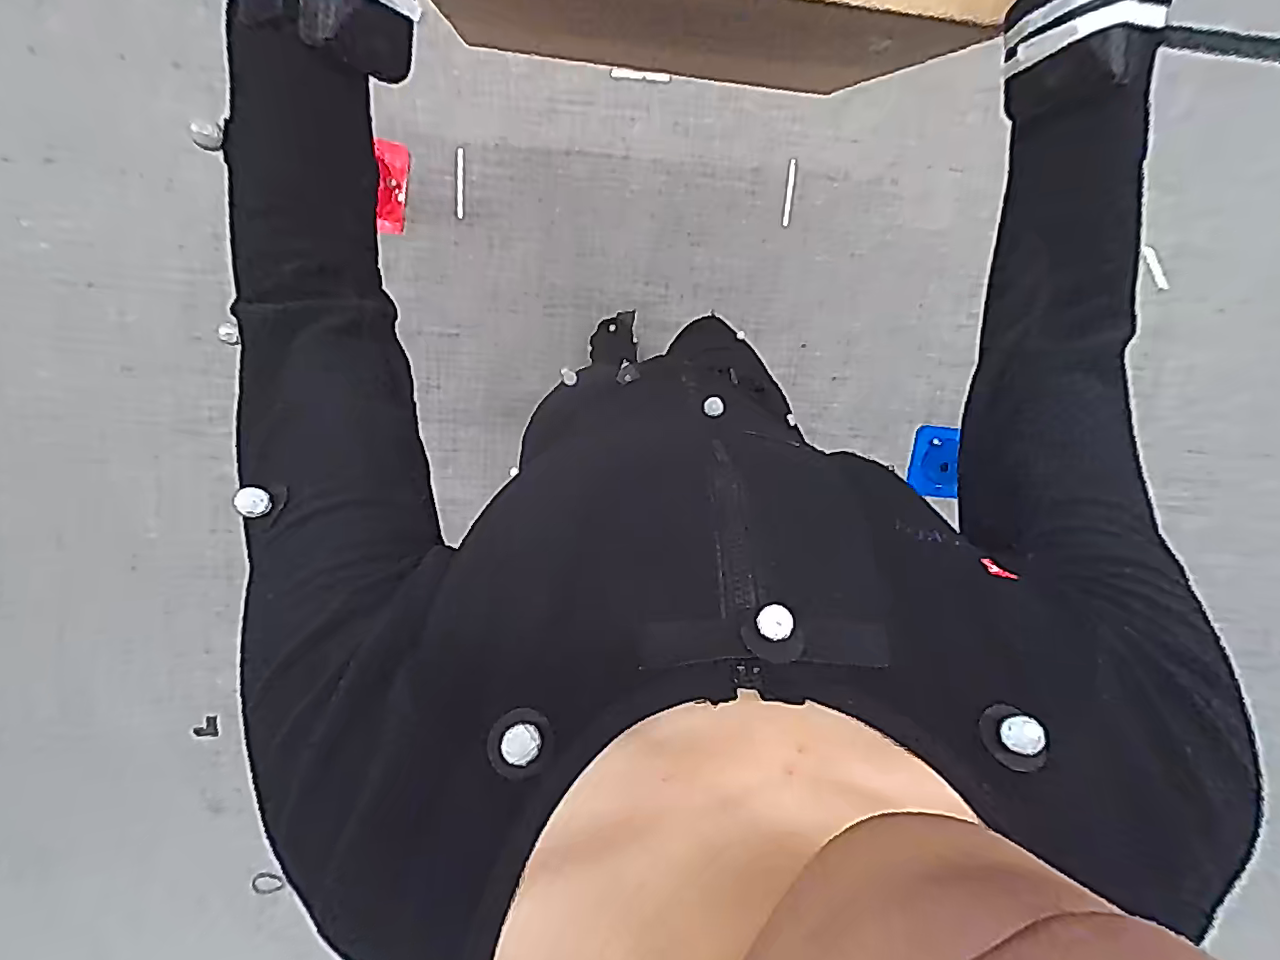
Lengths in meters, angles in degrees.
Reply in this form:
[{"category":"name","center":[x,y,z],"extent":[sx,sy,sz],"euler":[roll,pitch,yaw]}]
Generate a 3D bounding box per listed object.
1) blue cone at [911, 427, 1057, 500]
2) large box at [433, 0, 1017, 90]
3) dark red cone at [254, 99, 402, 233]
[{"category":"blue cone","center":[0.878,-0.016,1.367],"extent":[0.192,0.380,0.193],"euler":[6,103,-6]},{"category":"large box","center":[0.041,-0.508,0.387],"extent":[0.408,0.320,0.320],"euler":[1,119,-9]},{"category":"dark red cone","center":[-0.641,-0.652,1.086],"extent":[0.201,0.394,0.202],"euler":[8,103,-7]}]
